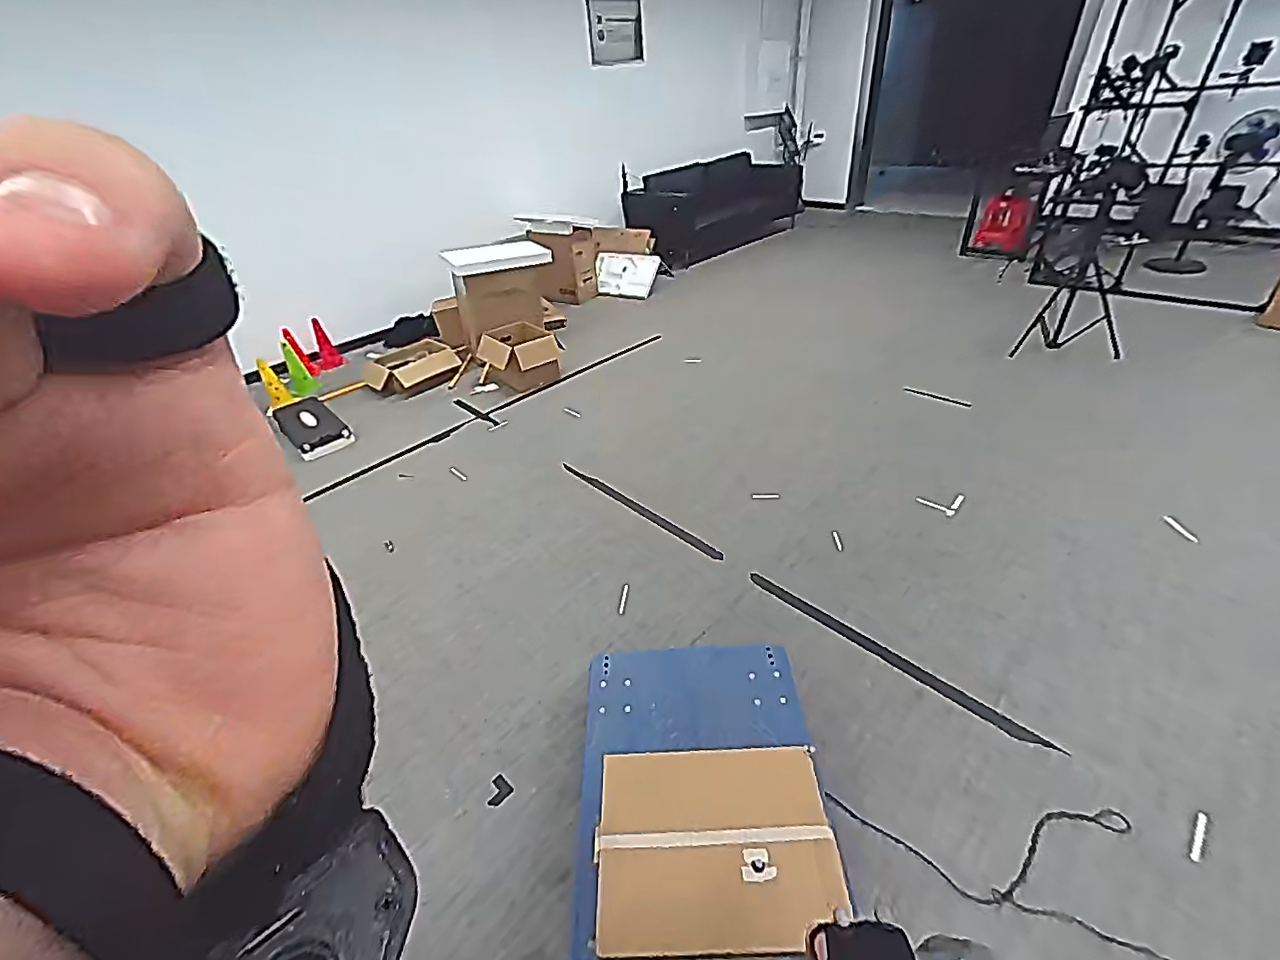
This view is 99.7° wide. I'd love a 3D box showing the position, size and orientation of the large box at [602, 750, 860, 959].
[{"bbox_3d":[0.142,0.752,1.026,0.408,0.320,0.320,-3,36,1],"label":"large box"}]
